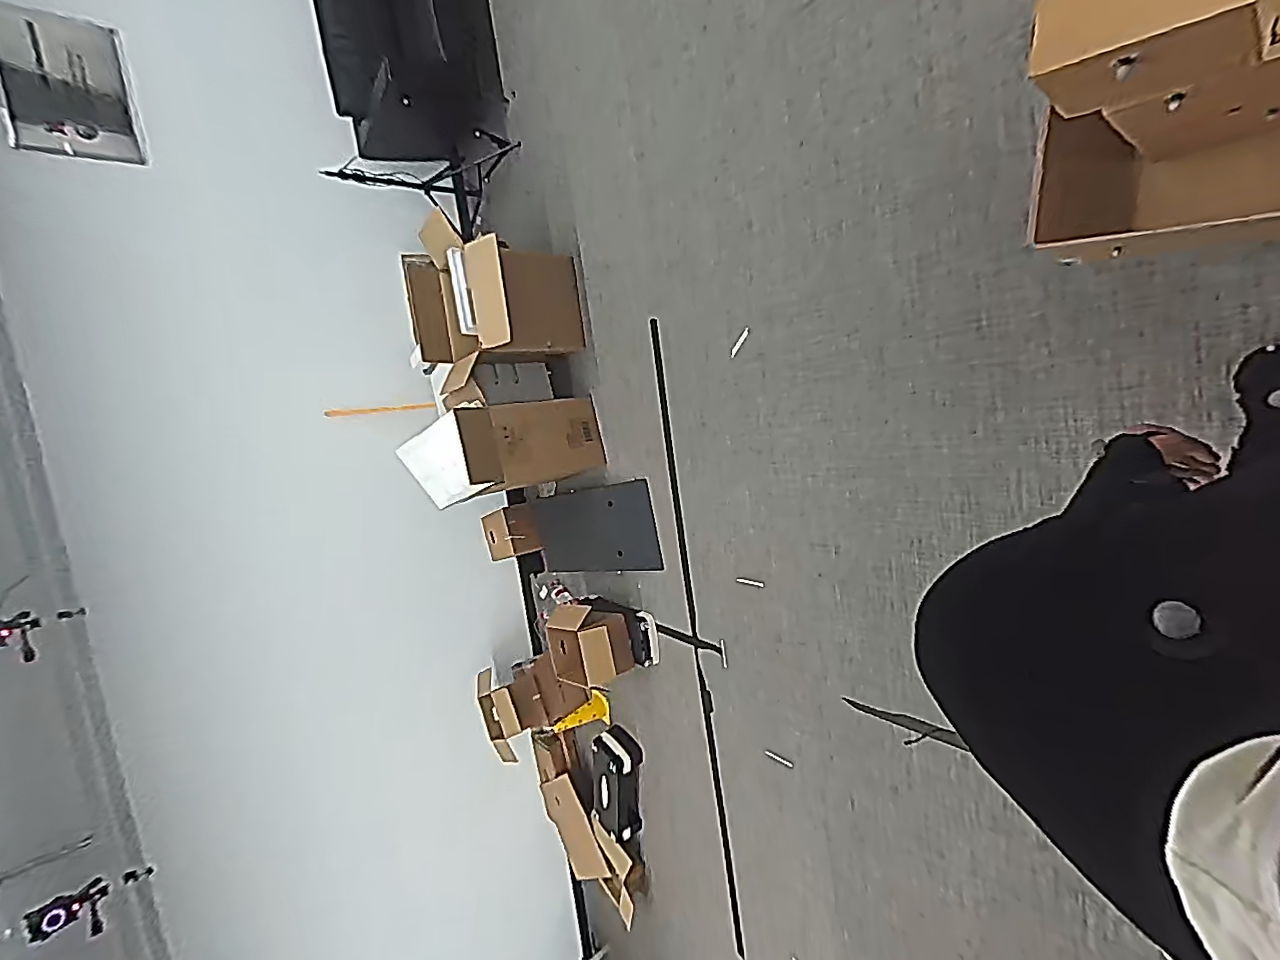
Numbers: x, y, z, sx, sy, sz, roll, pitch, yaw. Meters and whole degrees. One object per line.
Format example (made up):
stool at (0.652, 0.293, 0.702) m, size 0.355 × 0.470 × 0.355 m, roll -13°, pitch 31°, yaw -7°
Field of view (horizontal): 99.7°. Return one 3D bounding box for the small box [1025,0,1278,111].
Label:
small box at (0.540, -0.521, 0.563) m, size 0.179 × 0.176 × 0.168 m, roll 14°, pitch 110°, yaw 50°

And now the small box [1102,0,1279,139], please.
small box at (0.683, -0.544, 0.643) m, size 0.168 × 0.176 × 0.179 m, roll 10°, pitch 107°, yaw 51°
